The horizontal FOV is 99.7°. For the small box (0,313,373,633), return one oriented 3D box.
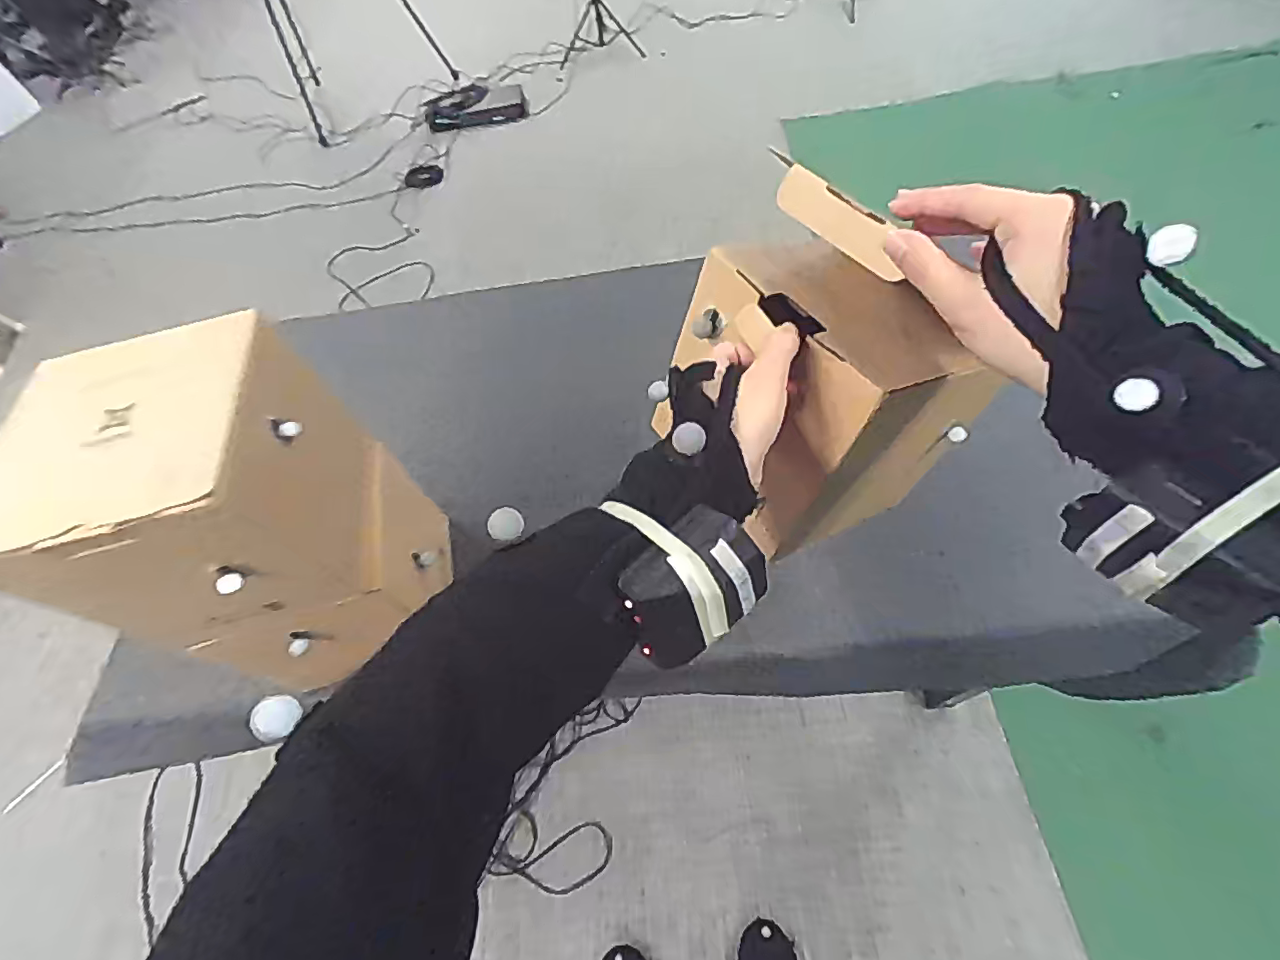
[{"bbox_3d":[-0.334,0.006,0.425,0.168,0.176,0.179,-14,56,-2],"label":"small box"}]

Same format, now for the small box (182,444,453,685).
[{"bbox_3d":[-0.307,0.094,0.560,0.179,0.176,0.168,-17,57,-2],"label":"small box"}]
